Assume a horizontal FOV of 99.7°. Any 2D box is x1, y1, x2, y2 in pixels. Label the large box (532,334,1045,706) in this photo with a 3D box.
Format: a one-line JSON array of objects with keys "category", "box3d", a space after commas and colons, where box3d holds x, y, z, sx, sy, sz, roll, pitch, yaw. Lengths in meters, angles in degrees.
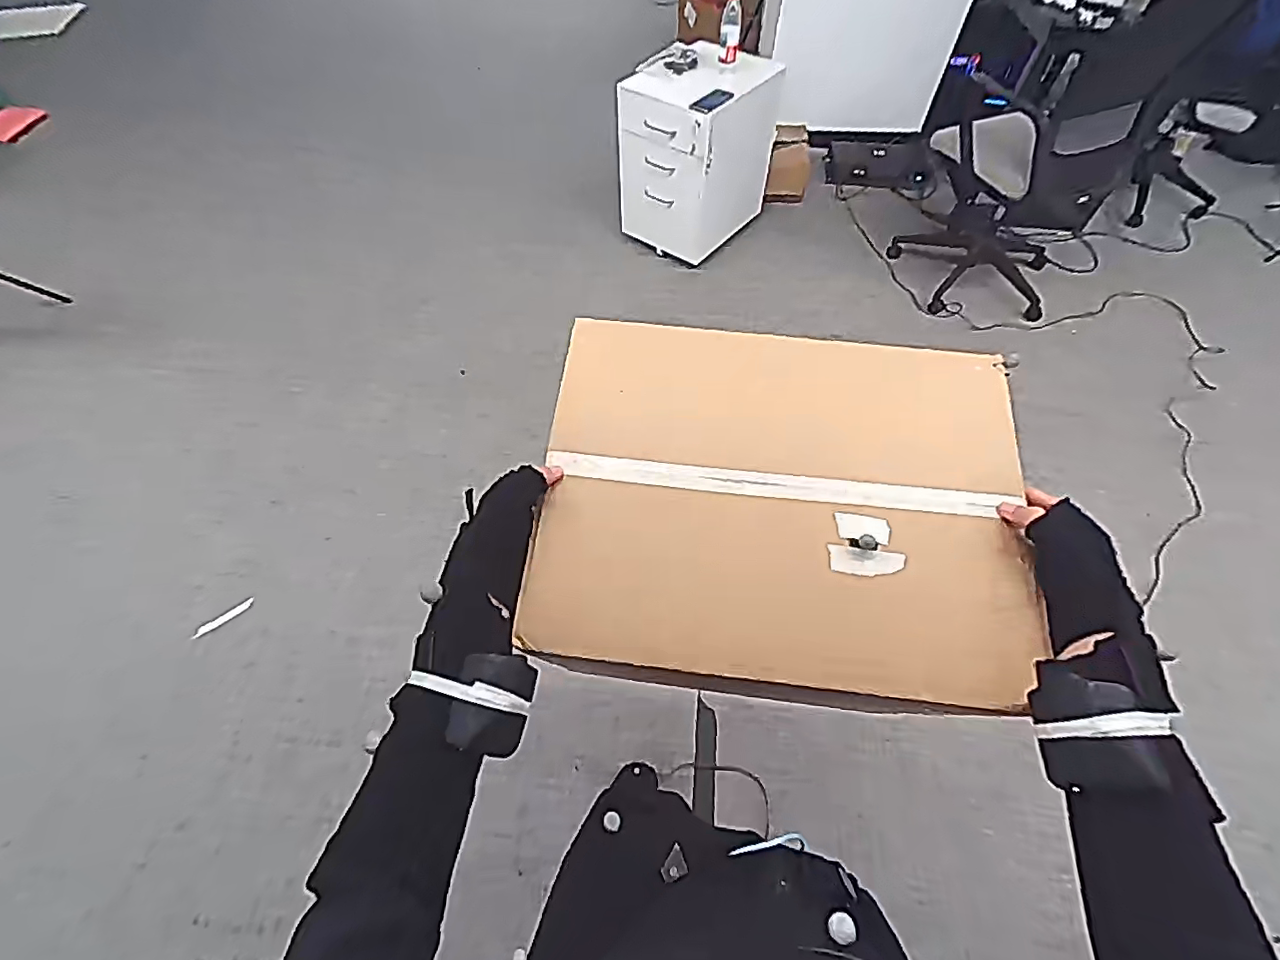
[{"category": "large box", "box3d": [0.124, 0.068, 0.607, 0.408, 0.320, 0.320, 6, 69, 3]}]
